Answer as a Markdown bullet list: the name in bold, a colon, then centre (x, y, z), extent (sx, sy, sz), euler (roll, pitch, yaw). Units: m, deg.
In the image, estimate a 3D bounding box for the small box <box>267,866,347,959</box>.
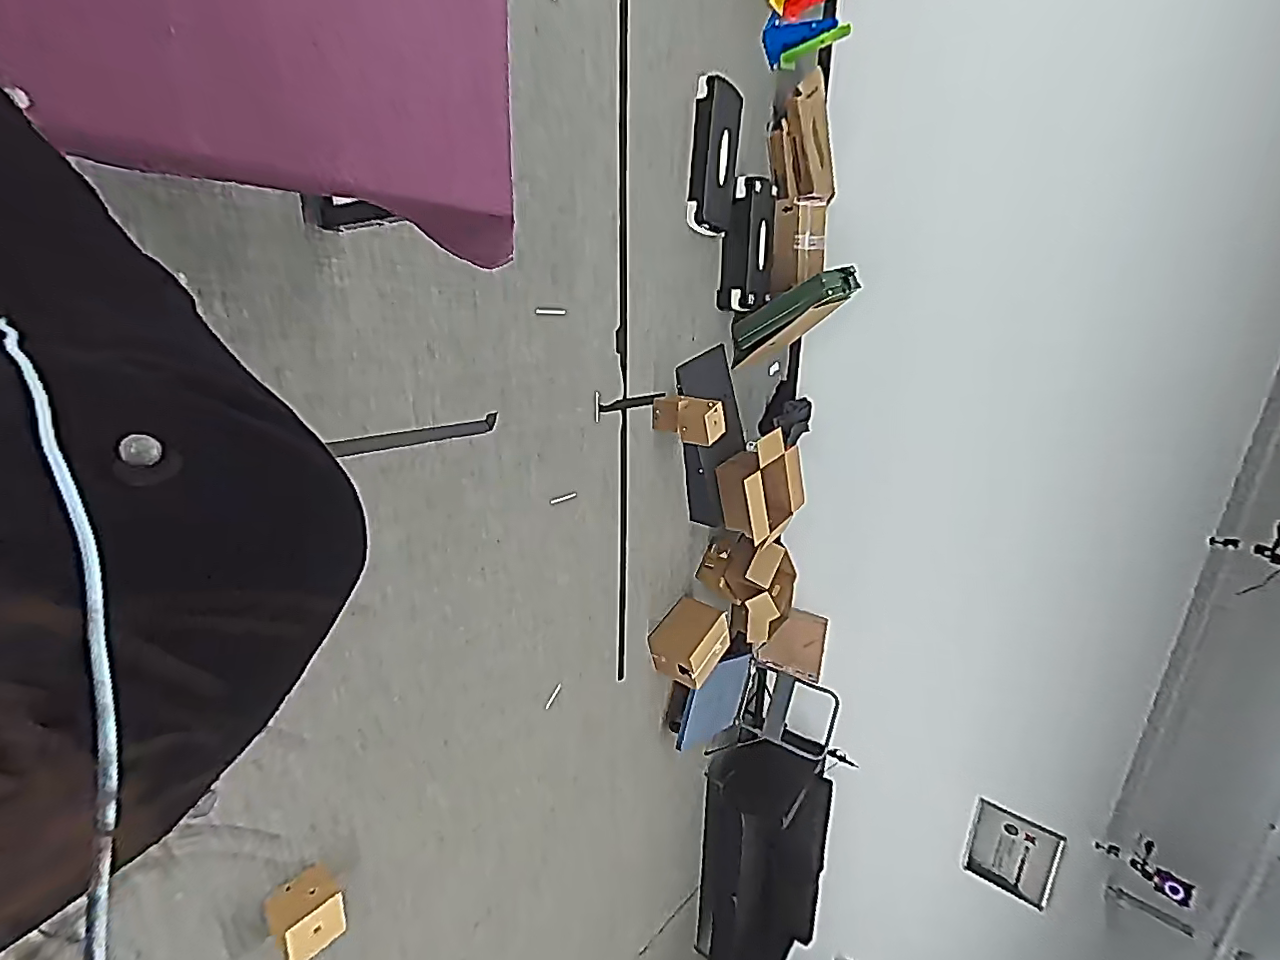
- **small box**: centre (-1.083, 1.408, 1.757), extent (0.168, 0.176, 0.179), euler (-18, 117, -50)
